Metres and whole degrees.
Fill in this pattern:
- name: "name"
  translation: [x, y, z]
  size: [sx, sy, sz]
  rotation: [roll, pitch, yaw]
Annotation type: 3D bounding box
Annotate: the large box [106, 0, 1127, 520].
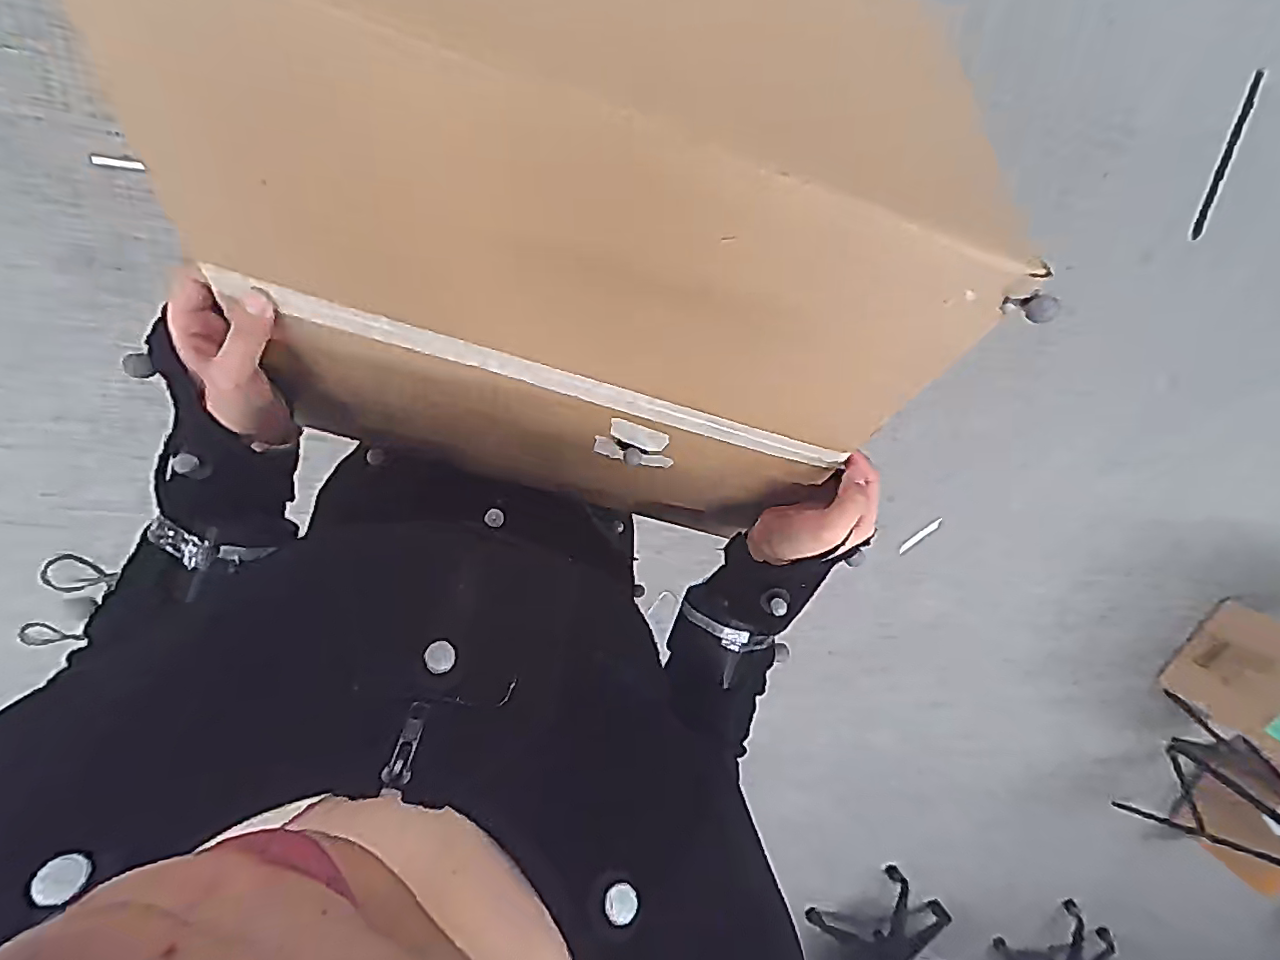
- name: "large box"
  translation: [-0.015, -0.212, 0.386]
  size: [0.408, 0.320, 0.320]
  rotation: [15, 150, -9]
